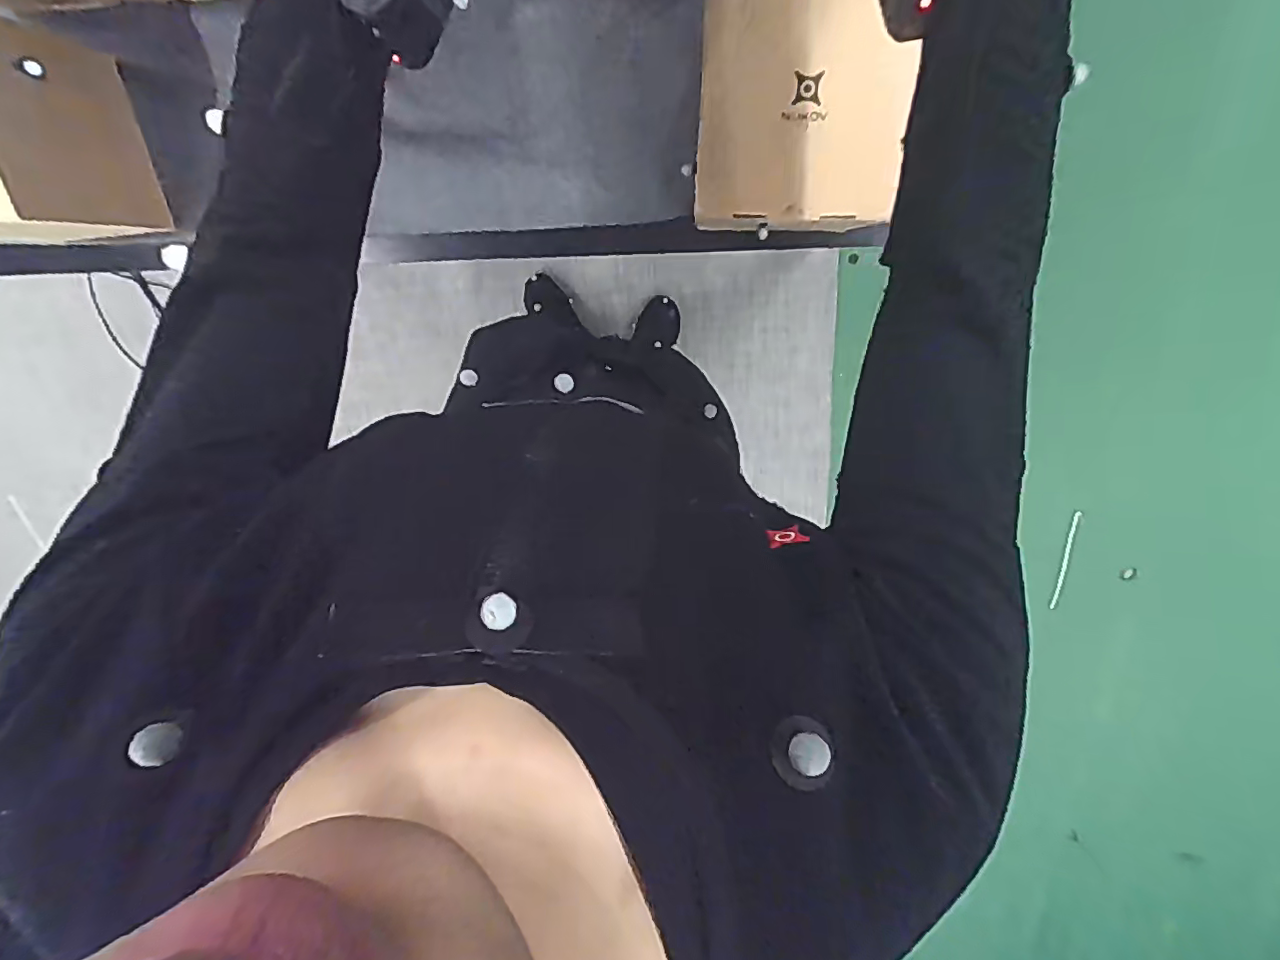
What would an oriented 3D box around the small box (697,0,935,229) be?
[{"bbox_3d":[0.140,-0.332,0.498,0.168,0.176,0.179,3,114,5],"label":"small box"}]
